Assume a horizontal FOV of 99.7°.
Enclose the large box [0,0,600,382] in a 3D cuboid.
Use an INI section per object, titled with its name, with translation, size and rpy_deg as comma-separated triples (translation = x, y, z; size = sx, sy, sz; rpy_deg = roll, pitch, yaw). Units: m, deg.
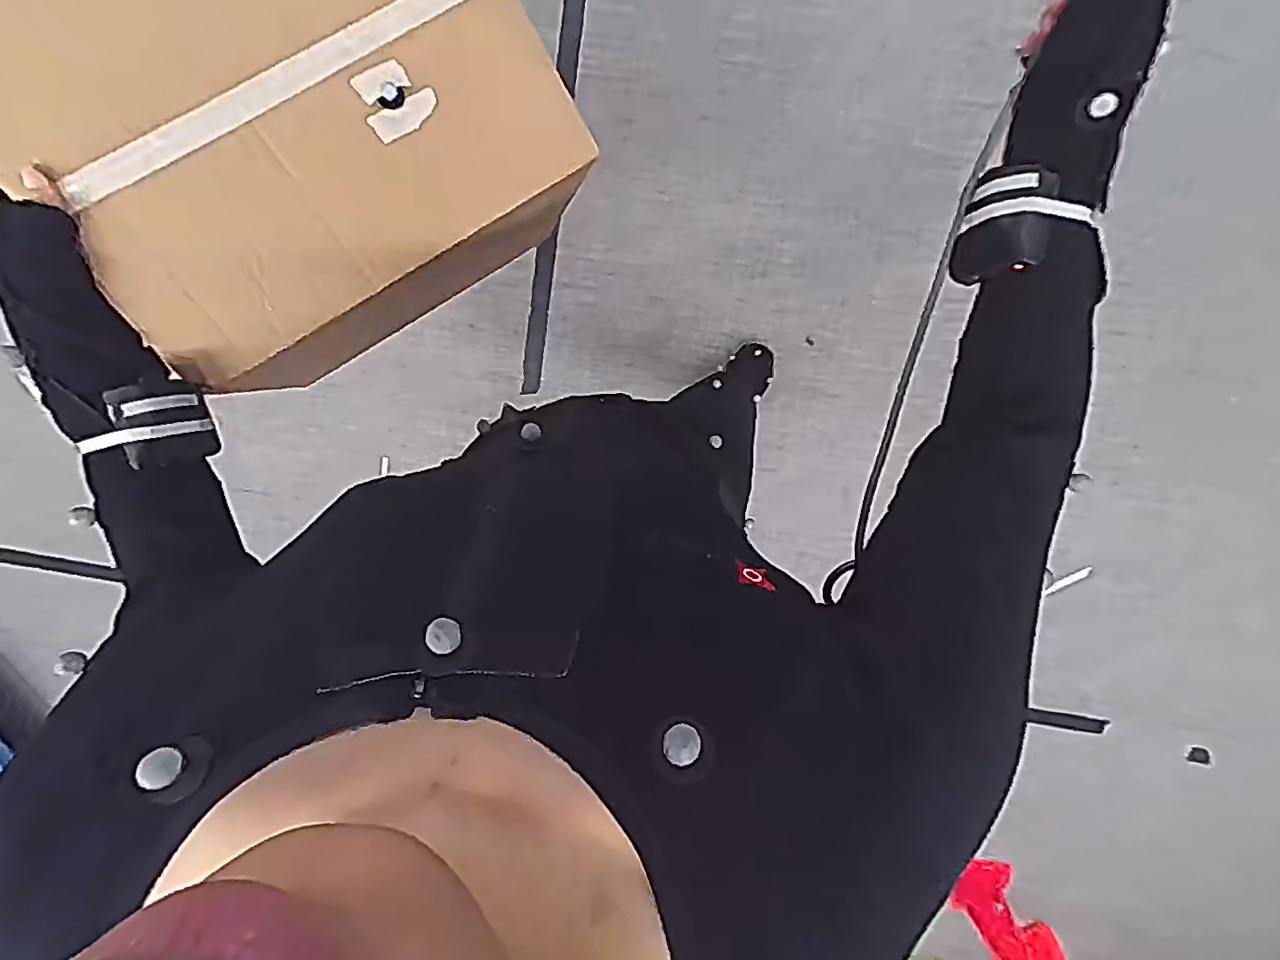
[large box]
translation = -0.315, -0.343, 0.572
size = 0.408, 0.320, 0.320
rpy_deg = -37, 109, -9
